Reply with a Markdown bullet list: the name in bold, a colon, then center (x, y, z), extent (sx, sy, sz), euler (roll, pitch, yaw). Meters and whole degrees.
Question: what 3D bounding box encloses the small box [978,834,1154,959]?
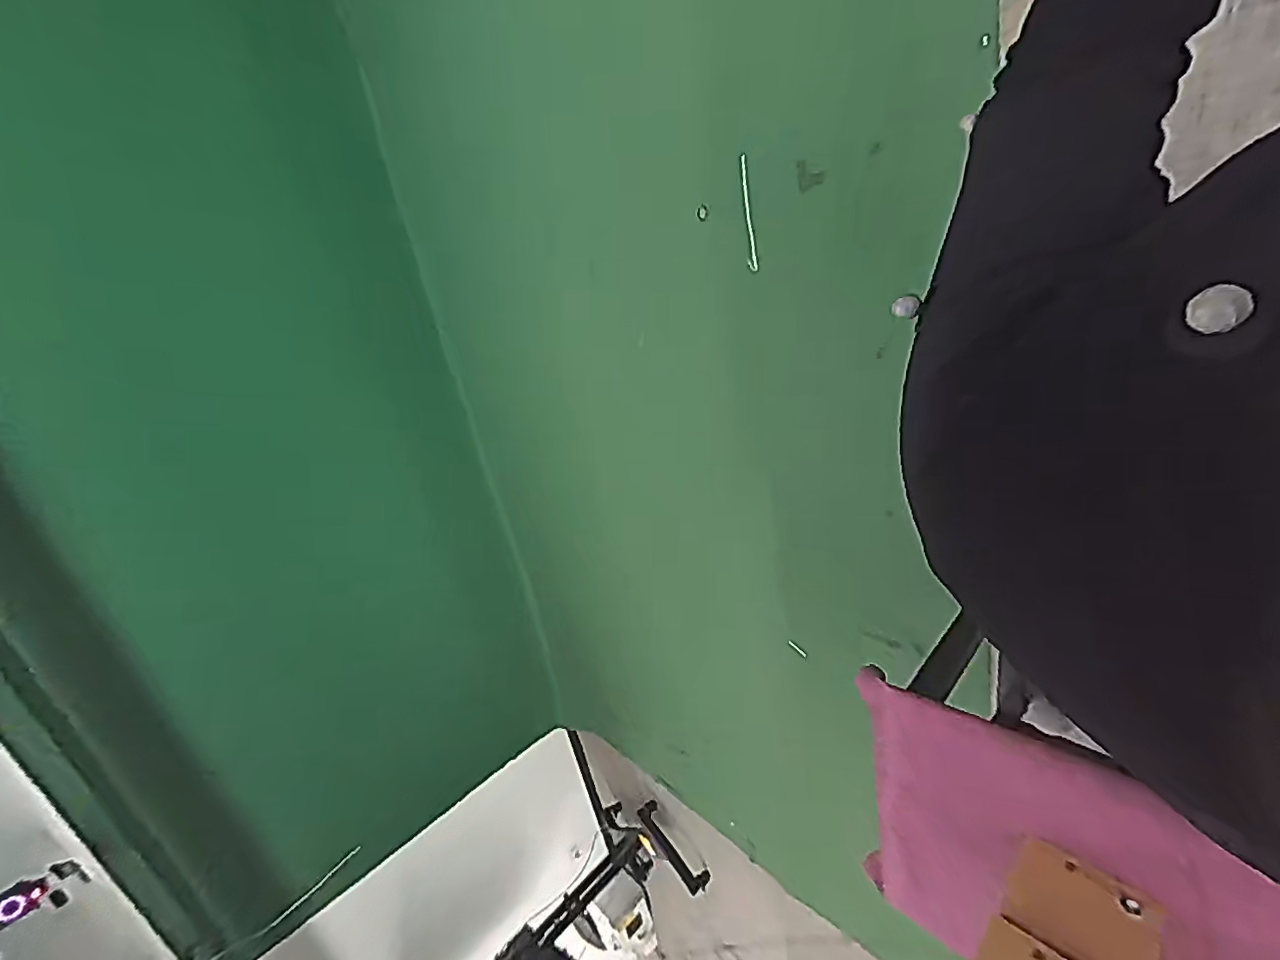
- **small box**: center (0.635, 0.689, 0.812), extent (0.168, 0.176, 0.179), euler (19, 126, 46)
